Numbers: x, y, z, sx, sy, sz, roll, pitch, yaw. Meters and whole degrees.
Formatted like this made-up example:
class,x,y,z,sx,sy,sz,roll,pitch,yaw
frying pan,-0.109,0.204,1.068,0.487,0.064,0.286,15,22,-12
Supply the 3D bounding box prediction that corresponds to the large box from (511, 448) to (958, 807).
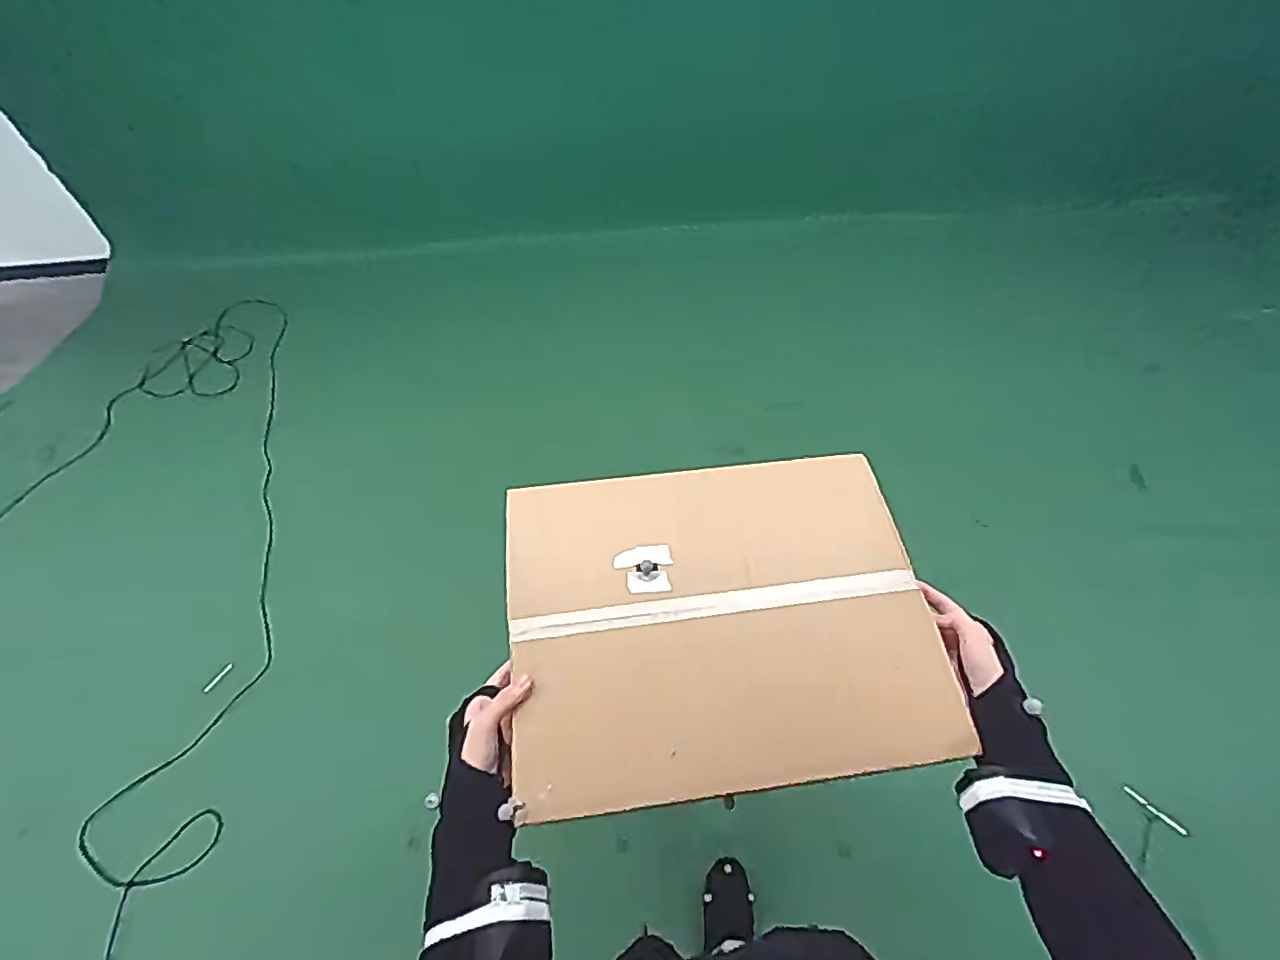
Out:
class,x,y,z,sx,sy,sz,roll,pitch,yaw
large box,0.076,0.191,0.676,0.408,0.320,0.320,-7,61,-4
